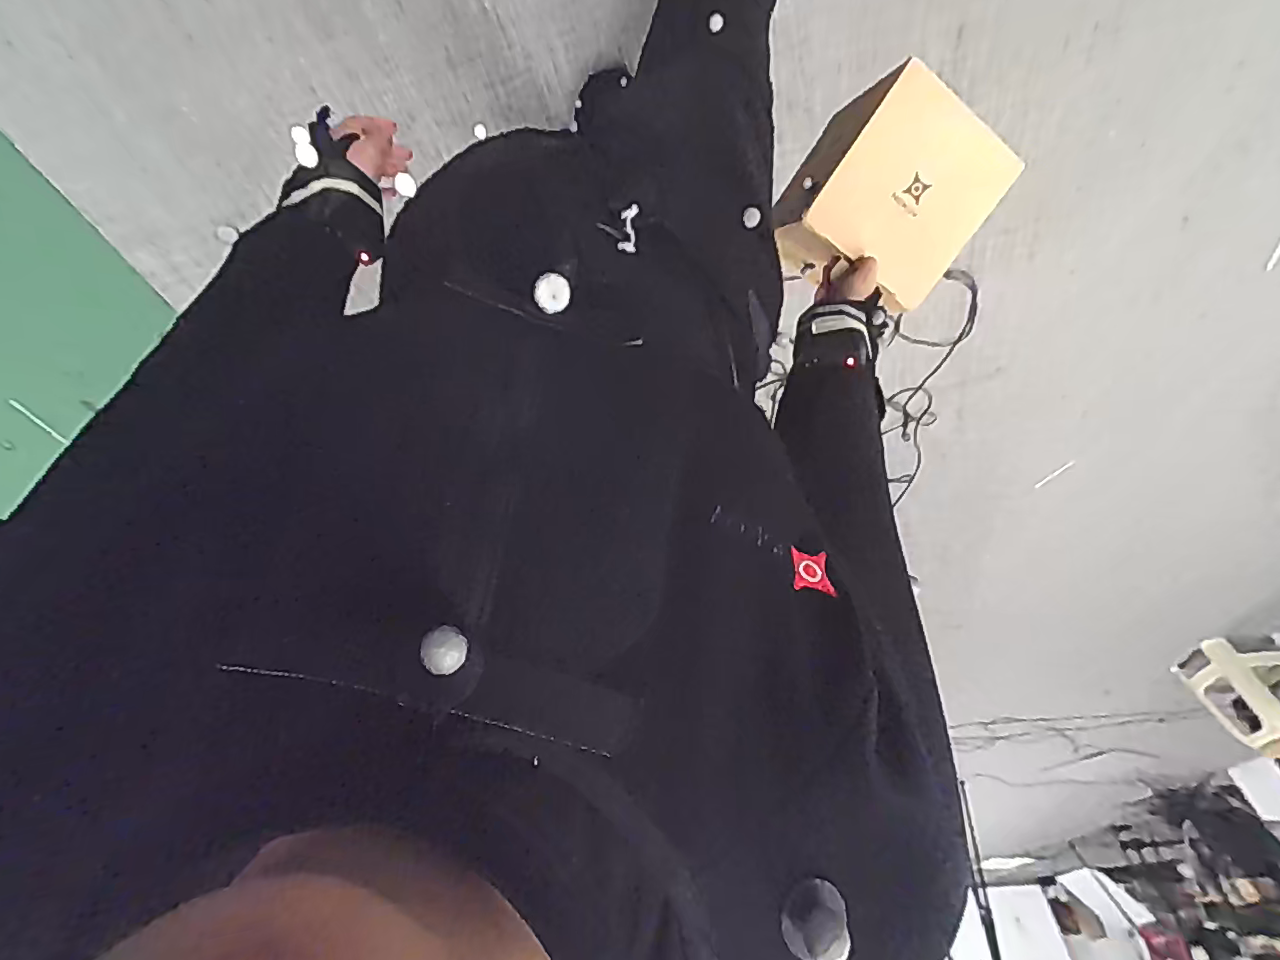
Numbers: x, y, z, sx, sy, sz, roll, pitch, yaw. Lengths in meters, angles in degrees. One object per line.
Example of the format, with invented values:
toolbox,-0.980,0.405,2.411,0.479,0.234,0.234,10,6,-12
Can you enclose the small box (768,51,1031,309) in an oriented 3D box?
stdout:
small box,0.274,-0.319,0.615,0.168,0.176,0.179,31,105,-14
